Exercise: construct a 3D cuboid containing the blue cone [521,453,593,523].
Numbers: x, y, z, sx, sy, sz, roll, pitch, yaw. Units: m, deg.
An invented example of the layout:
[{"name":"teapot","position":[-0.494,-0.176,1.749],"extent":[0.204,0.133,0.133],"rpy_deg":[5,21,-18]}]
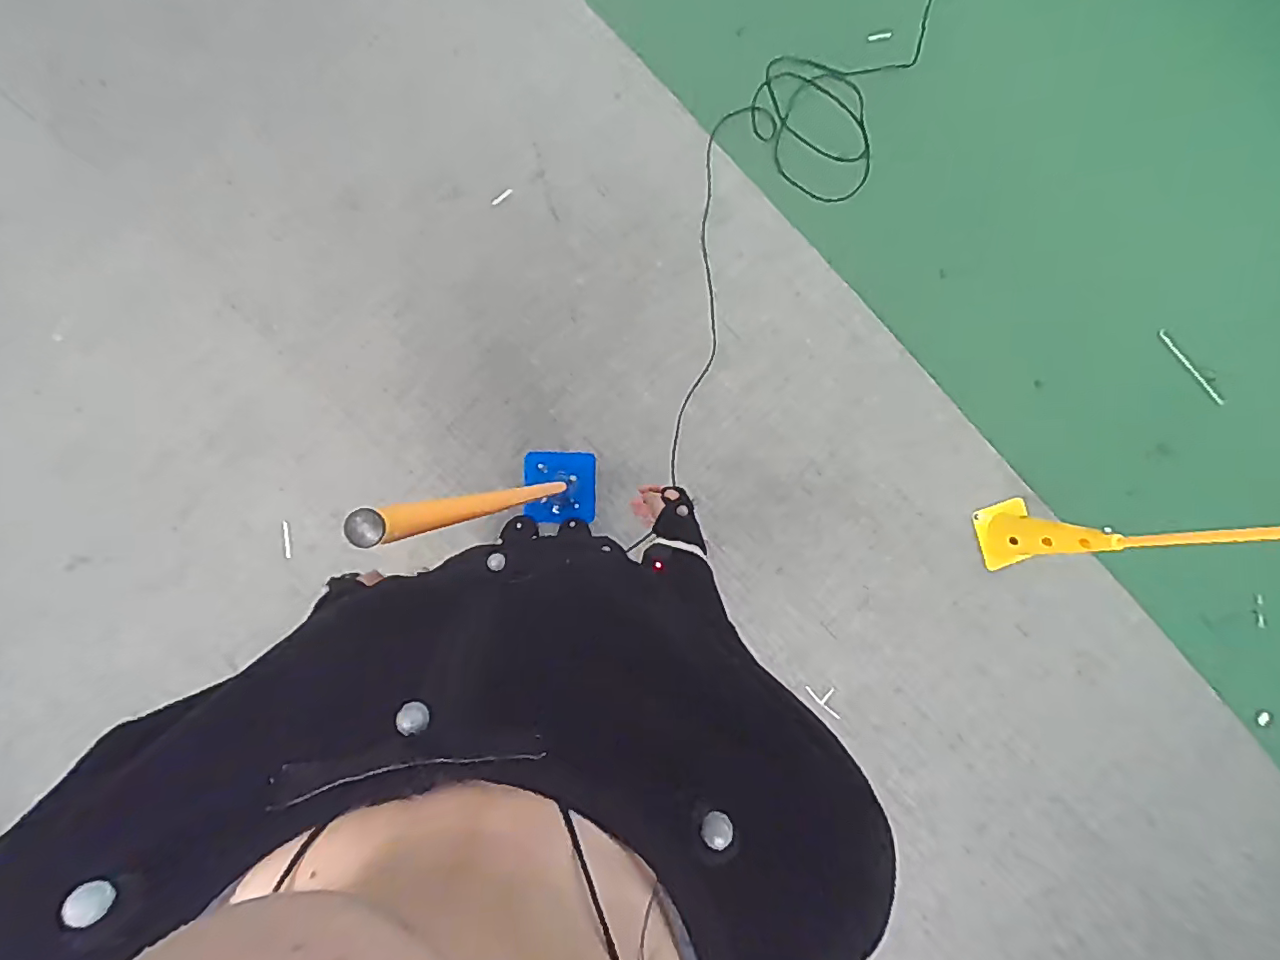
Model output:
[{"name":"blue cone","position":[-0.204,0.018,1.326],"extent":[0.193,0.380,0.192],"rpy_deg":[-1,89,-8]}]
